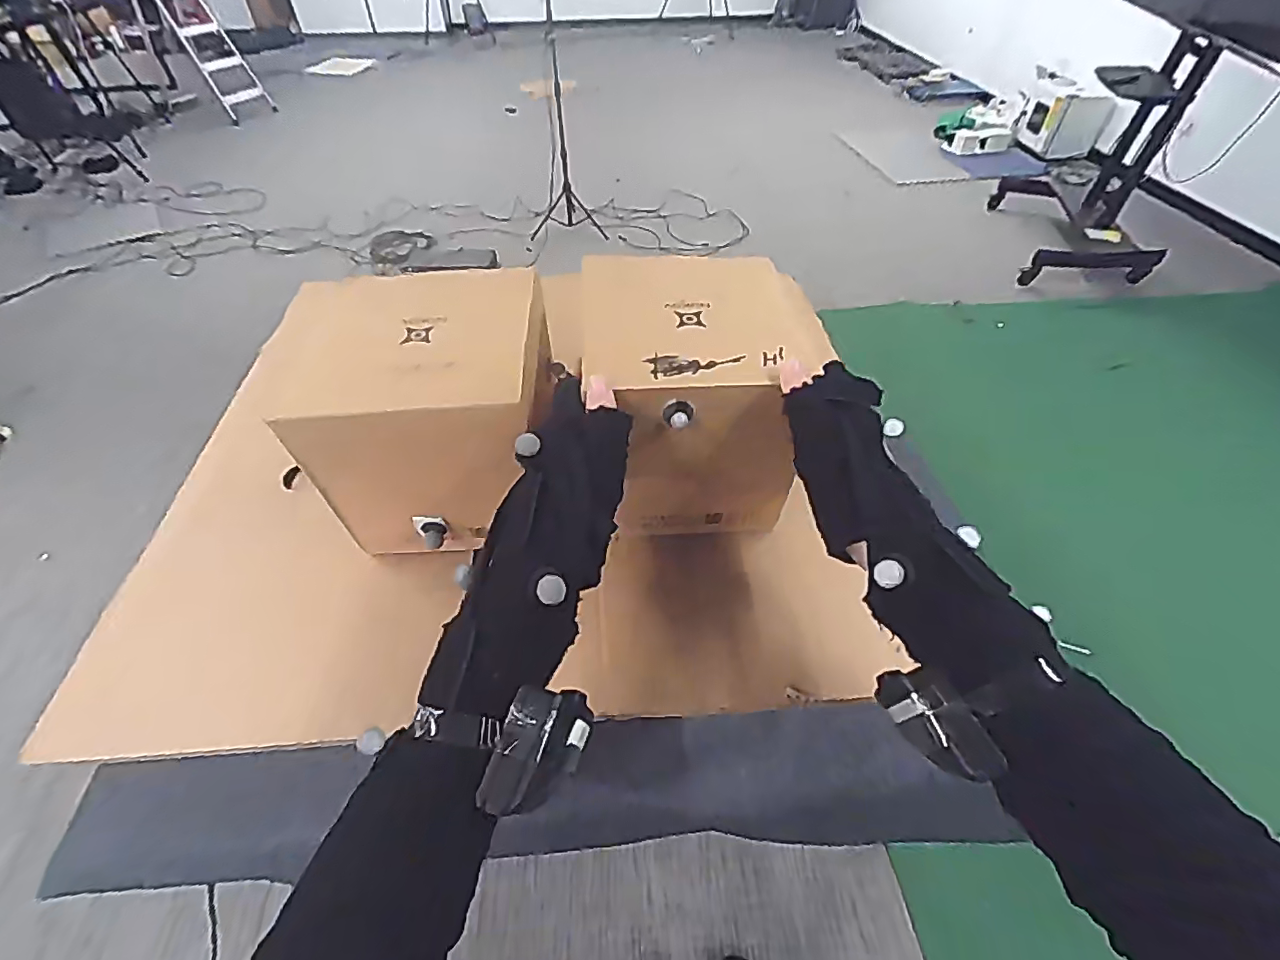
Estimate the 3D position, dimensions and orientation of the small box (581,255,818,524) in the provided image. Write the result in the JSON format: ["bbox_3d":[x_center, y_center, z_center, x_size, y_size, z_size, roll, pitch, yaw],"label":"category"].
[{"bbox_3d":[0.035,-0.080,0.480,0.168,0.176,0.179,-2,48,-3],"label":"small box"}]

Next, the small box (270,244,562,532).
[{"bbox_3d":[-0.161,-0.076,0.461,0.168,0.176,0.179,-5,51,-2],"label":"small box"}]
